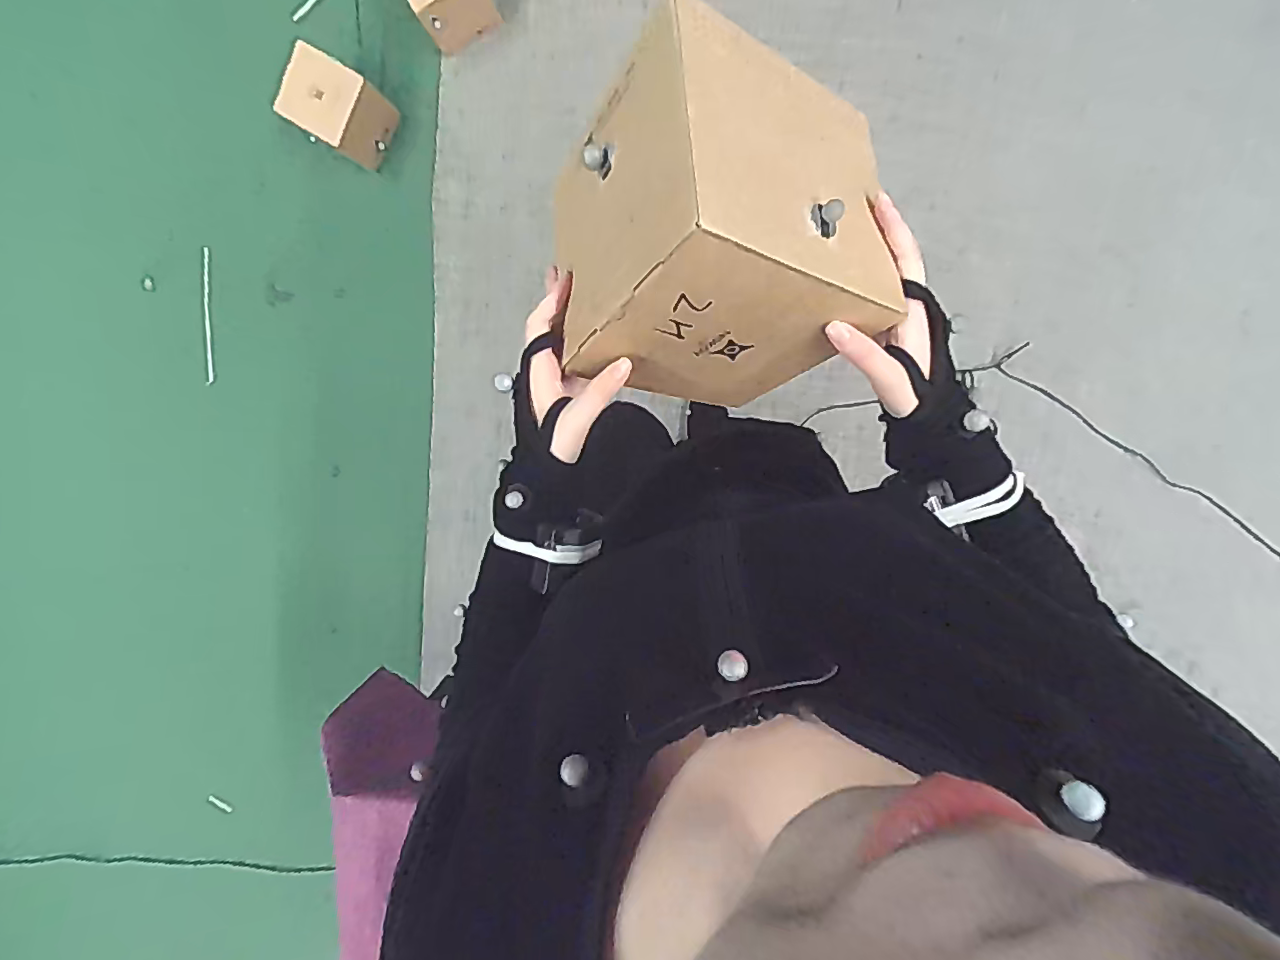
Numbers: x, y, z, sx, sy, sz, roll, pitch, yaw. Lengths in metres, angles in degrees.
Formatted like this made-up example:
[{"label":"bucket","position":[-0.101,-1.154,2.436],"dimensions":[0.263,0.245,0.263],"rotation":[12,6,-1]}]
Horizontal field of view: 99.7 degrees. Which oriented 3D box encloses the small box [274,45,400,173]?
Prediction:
[{"label":"small box","position":[-0.730,-0.891,1.320],"dimensions":[0.179,0.176,0.168],"rotation":[31,101,-1]}]
